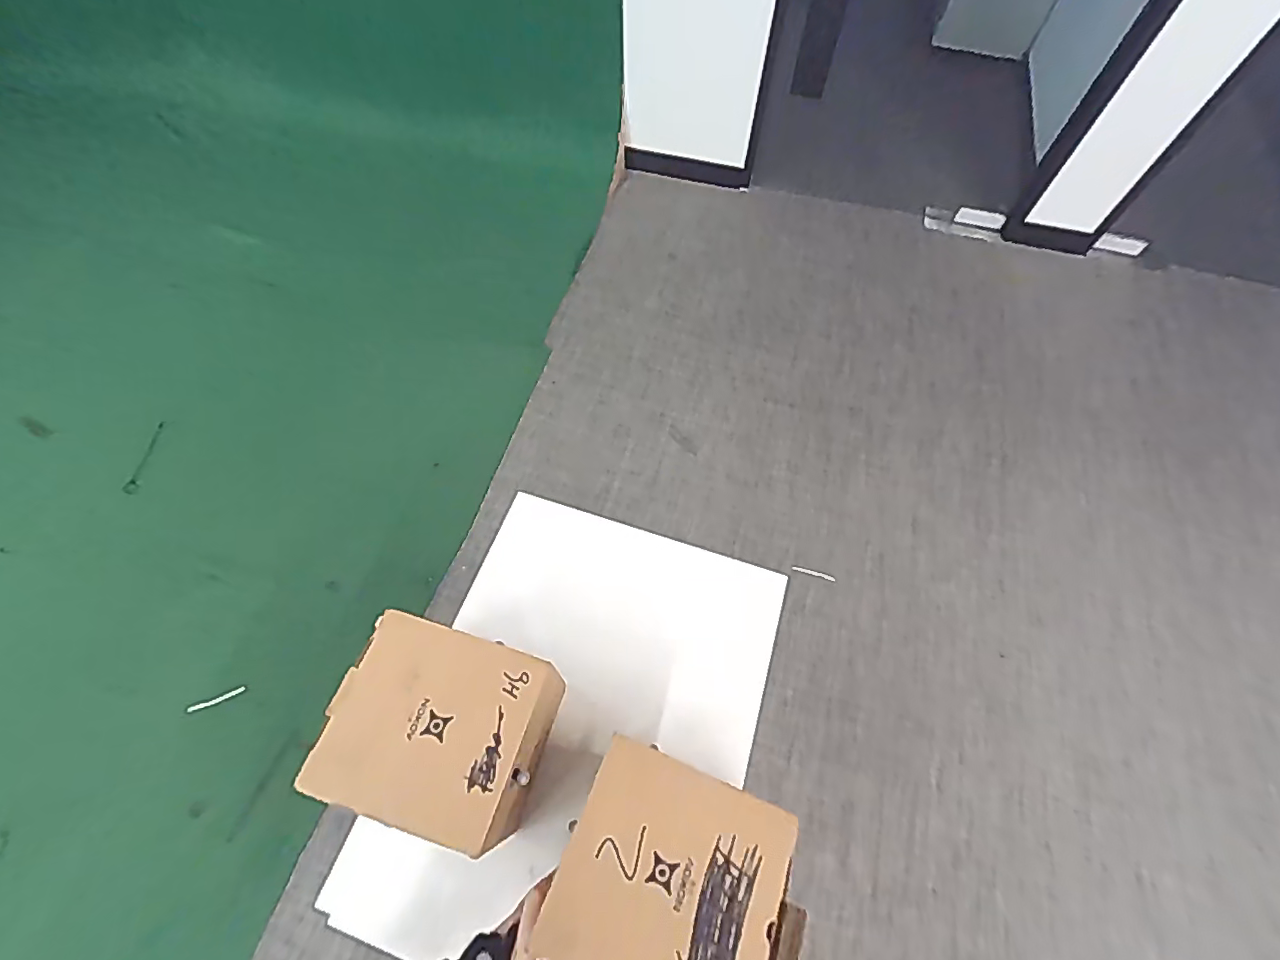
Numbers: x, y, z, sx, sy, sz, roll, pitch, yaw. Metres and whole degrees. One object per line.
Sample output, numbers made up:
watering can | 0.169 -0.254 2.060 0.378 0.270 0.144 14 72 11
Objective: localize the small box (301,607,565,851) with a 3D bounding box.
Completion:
small box | -0.191 0.257 0.564 0.179 0.176 0.168 16 62 7
